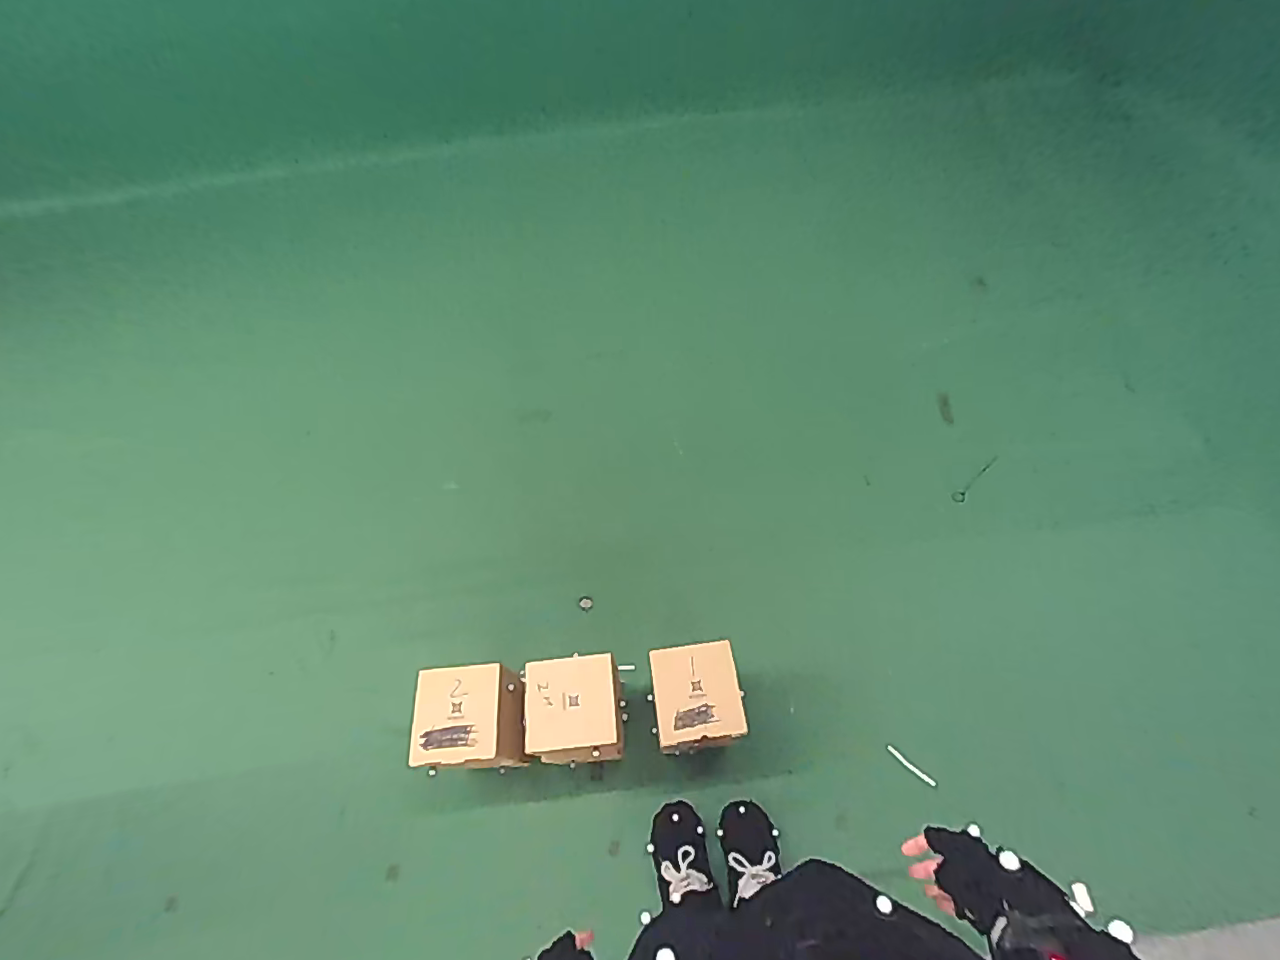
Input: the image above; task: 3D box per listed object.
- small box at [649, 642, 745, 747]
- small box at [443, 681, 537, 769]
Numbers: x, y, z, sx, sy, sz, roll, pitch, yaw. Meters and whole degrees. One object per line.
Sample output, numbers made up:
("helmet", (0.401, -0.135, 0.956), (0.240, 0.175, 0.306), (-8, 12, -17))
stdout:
("small box", (0.113, 0.448, 1.119), (0.168, 0.176, 0.179), (-8, 61, -1))
("small box", (-0.342, 0.576, 1.267), (0.168, 0.176, 0.179), (-4, 61, 2))
